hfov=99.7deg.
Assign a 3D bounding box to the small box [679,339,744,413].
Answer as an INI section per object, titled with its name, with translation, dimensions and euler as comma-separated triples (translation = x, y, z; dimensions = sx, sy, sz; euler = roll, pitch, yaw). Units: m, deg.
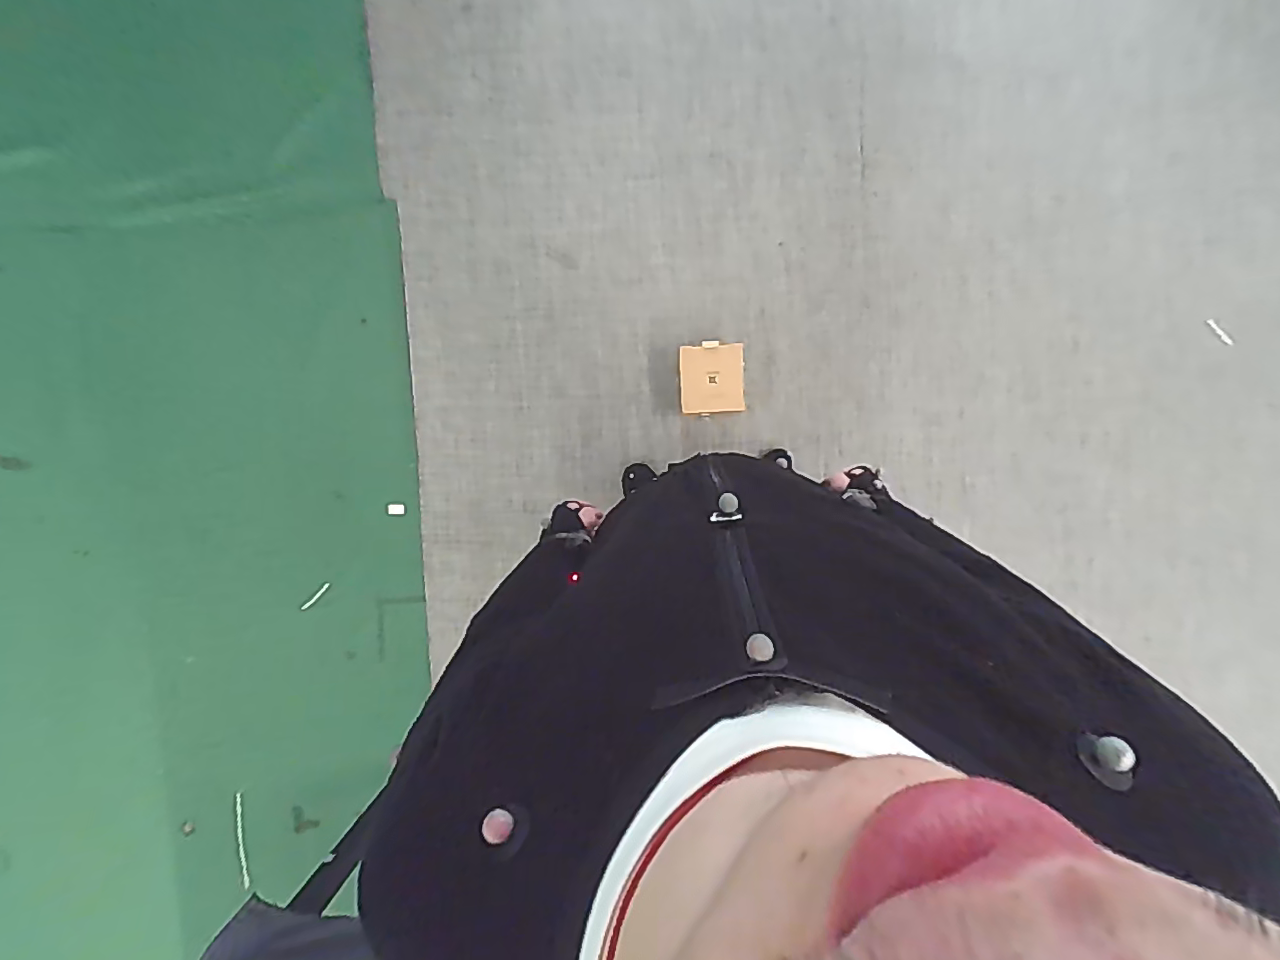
[small box]
translation = 0.189, -0.275, 1.461
dimensions = 0.168, 0.176, 0.179
euler = -1, 94, 5
